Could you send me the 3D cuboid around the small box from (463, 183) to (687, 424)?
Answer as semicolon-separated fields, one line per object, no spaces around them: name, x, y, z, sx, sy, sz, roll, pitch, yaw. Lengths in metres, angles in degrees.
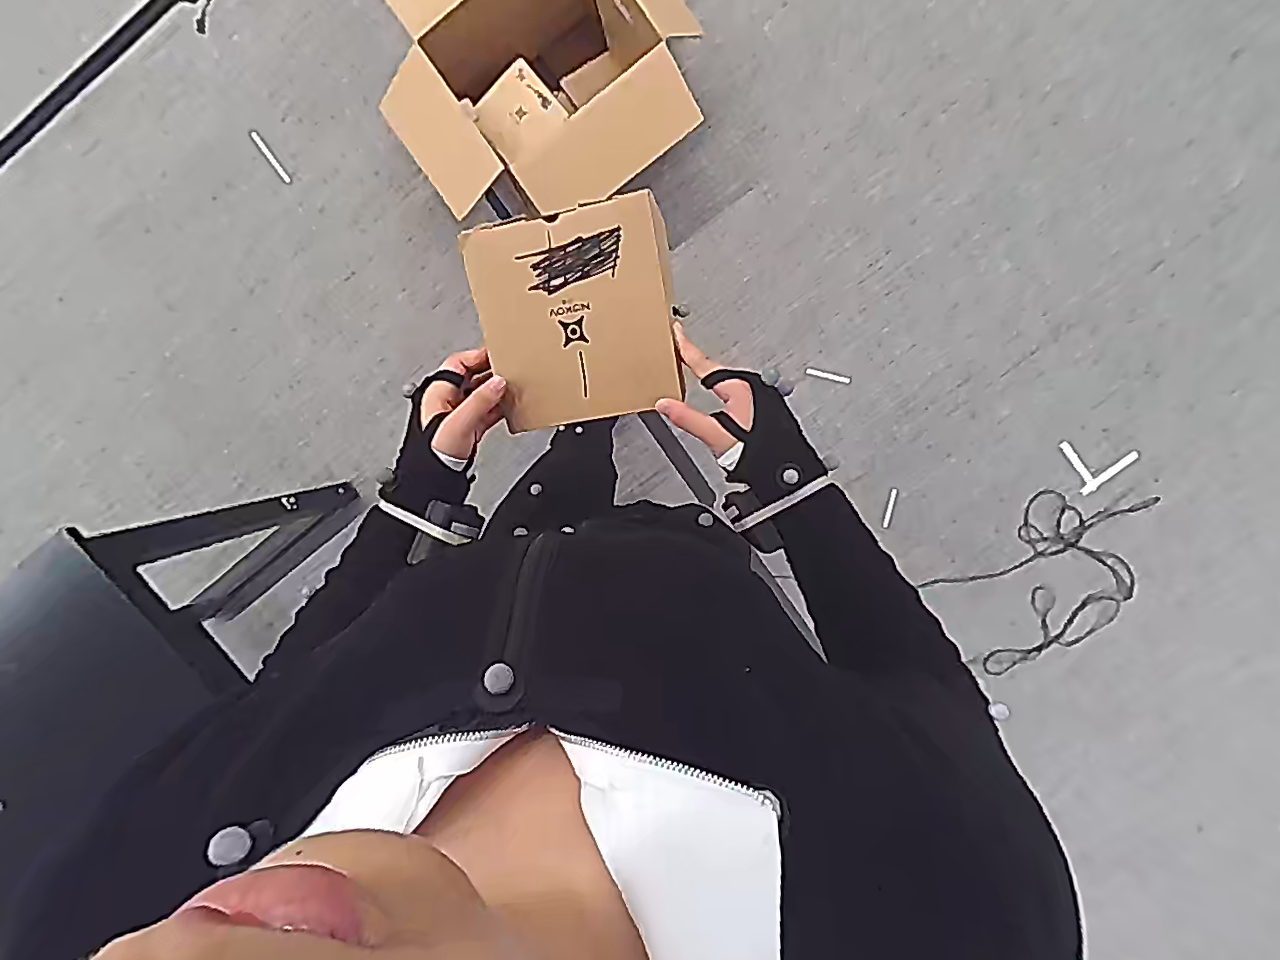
small box;-0.047;-0.167;0.538;0.168;0.176;0.179;-8;107;9

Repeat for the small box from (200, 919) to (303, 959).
small box;-0.585;0.777;0.752;0.179;0.176;0.168;-36;94;5
